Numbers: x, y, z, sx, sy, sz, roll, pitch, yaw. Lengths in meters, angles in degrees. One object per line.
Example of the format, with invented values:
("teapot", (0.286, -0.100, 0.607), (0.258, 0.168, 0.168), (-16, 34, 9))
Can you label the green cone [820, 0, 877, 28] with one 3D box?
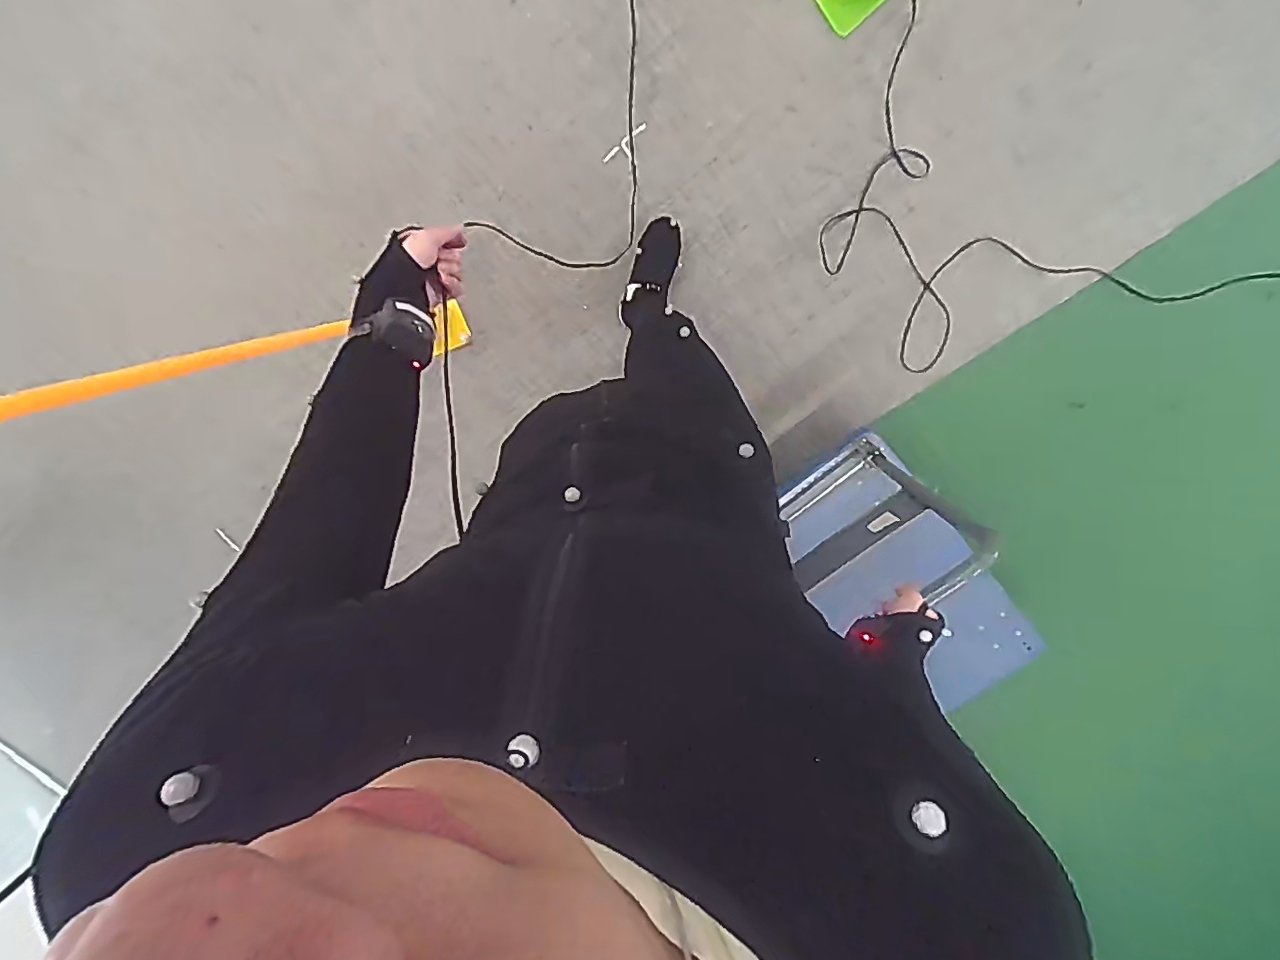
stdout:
("green cone", (0.469, -1.111, 1.043), (0.202, 0.368, 0.200), (-39, 102, 13))
